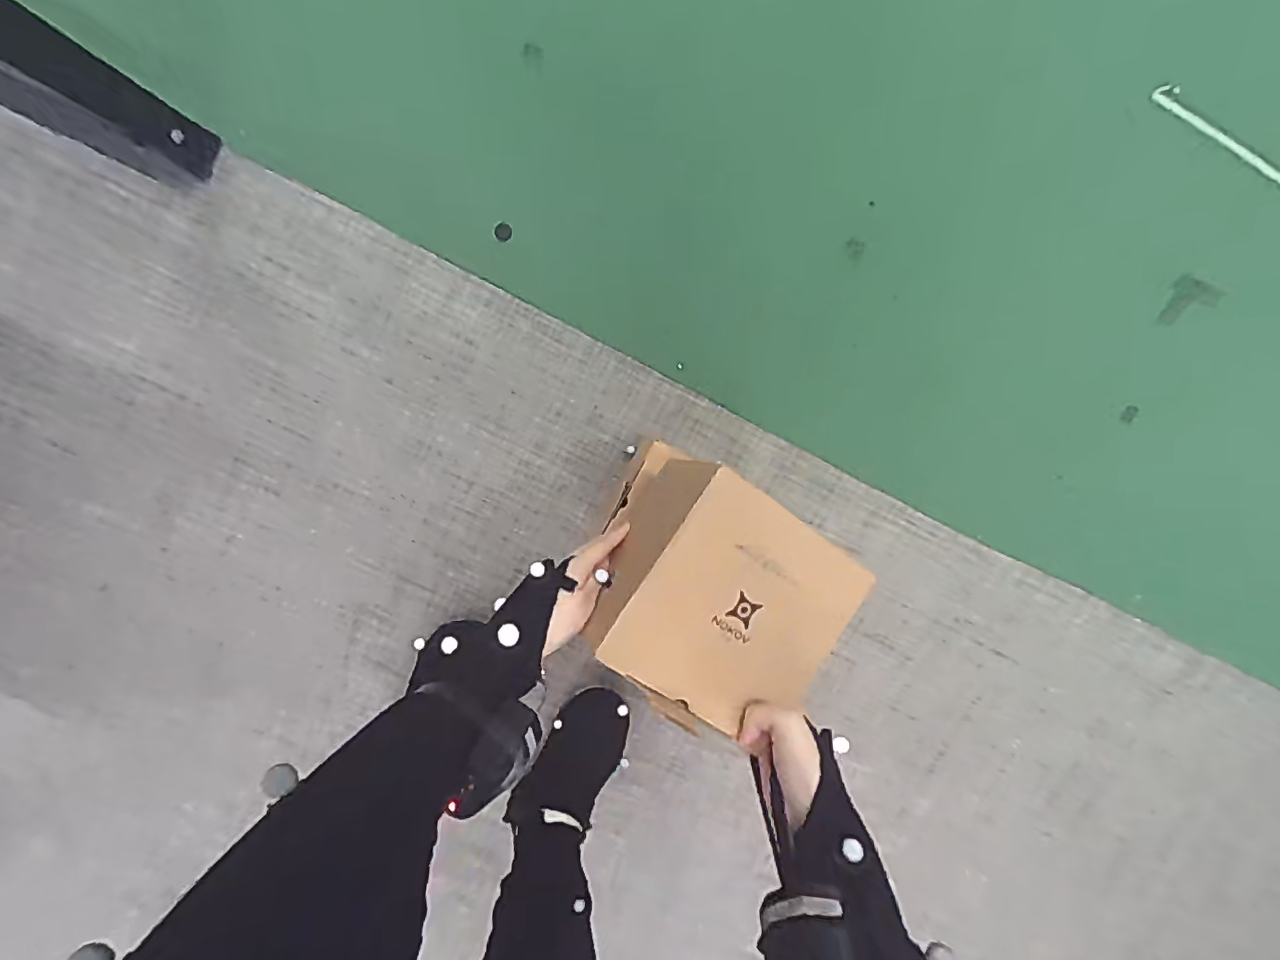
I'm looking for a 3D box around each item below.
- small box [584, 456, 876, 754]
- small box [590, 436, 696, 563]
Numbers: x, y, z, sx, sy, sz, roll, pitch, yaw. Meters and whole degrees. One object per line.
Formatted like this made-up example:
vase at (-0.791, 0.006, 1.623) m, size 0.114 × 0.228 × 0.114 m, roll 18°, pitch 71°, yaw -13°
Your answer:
small box at (0.062, 0.094, 0.487) m, size 0.168 × 0.176 × 0.179 m, roll 33°, pitch 87°, yaw -11°
small box at (0.050, 0.053, 0.703) m, size 0.179 × 0.176 × 0.168 m, roll 29°, pitch 96°, yaw -7°
